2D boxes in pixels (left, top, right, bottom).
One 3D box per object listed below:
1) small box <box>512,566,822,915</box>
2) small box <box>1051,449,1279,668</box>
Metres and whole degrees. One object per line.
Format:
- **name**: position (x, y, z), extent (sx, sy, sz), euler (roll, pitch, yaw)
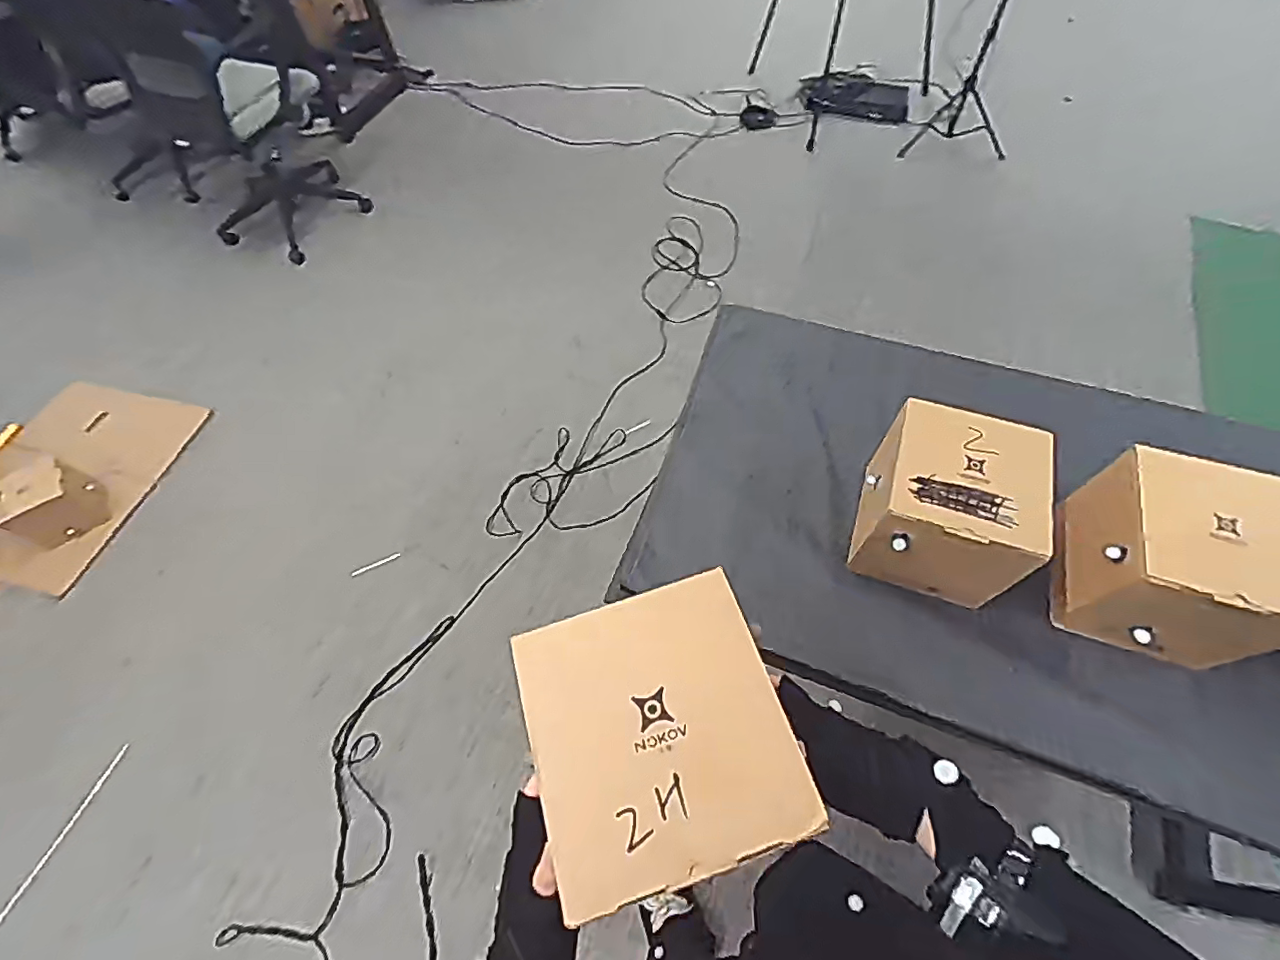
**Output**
- **small box**: position (0.013, 0.196, 0.423), extent (0.168, 0.176, 0.179), euler (-17, 60, -5)
- **small box**: position (0.620, 0.097, 0.636), extent (0.168, 0.176, 0.179), euler (16, 62, 13)
